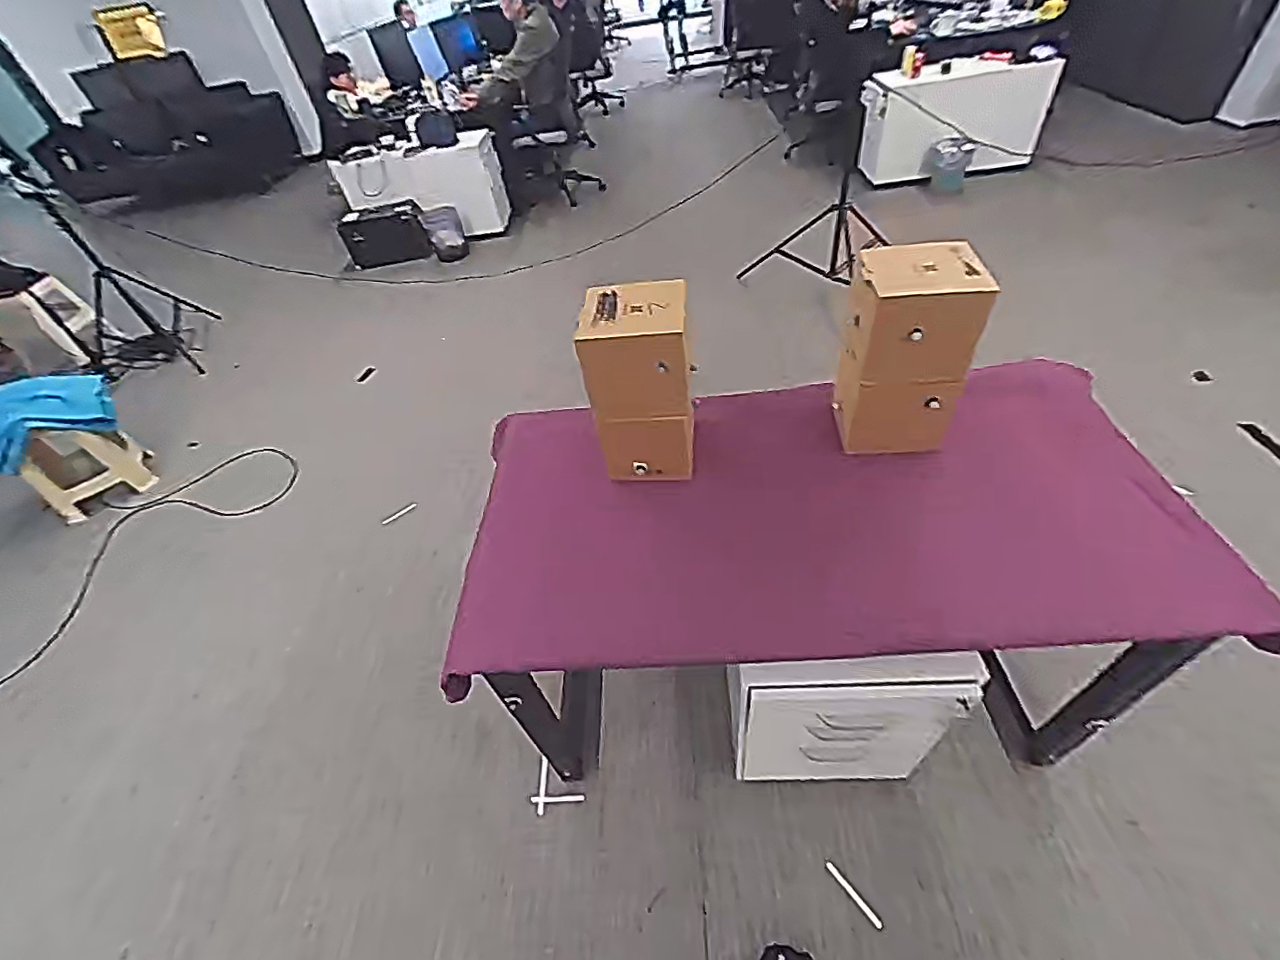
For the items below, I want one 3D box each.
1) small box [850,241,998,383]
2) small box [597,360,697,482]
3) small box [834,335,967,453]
[{"bbox_3d":[0.461,-0.279,0.916,0.179,0.176,0.168,-2,48,10],"label":"small box"},{"bbox_3d":[0.022,-0.115,1.065,0.168,0.176,0.179,-1,49,10],"label":"small box"},{"bbox_3d":[0.483,-0.166,1.033,0.179,0.176,0.168,-2,47,8],"label":"small box"}]
